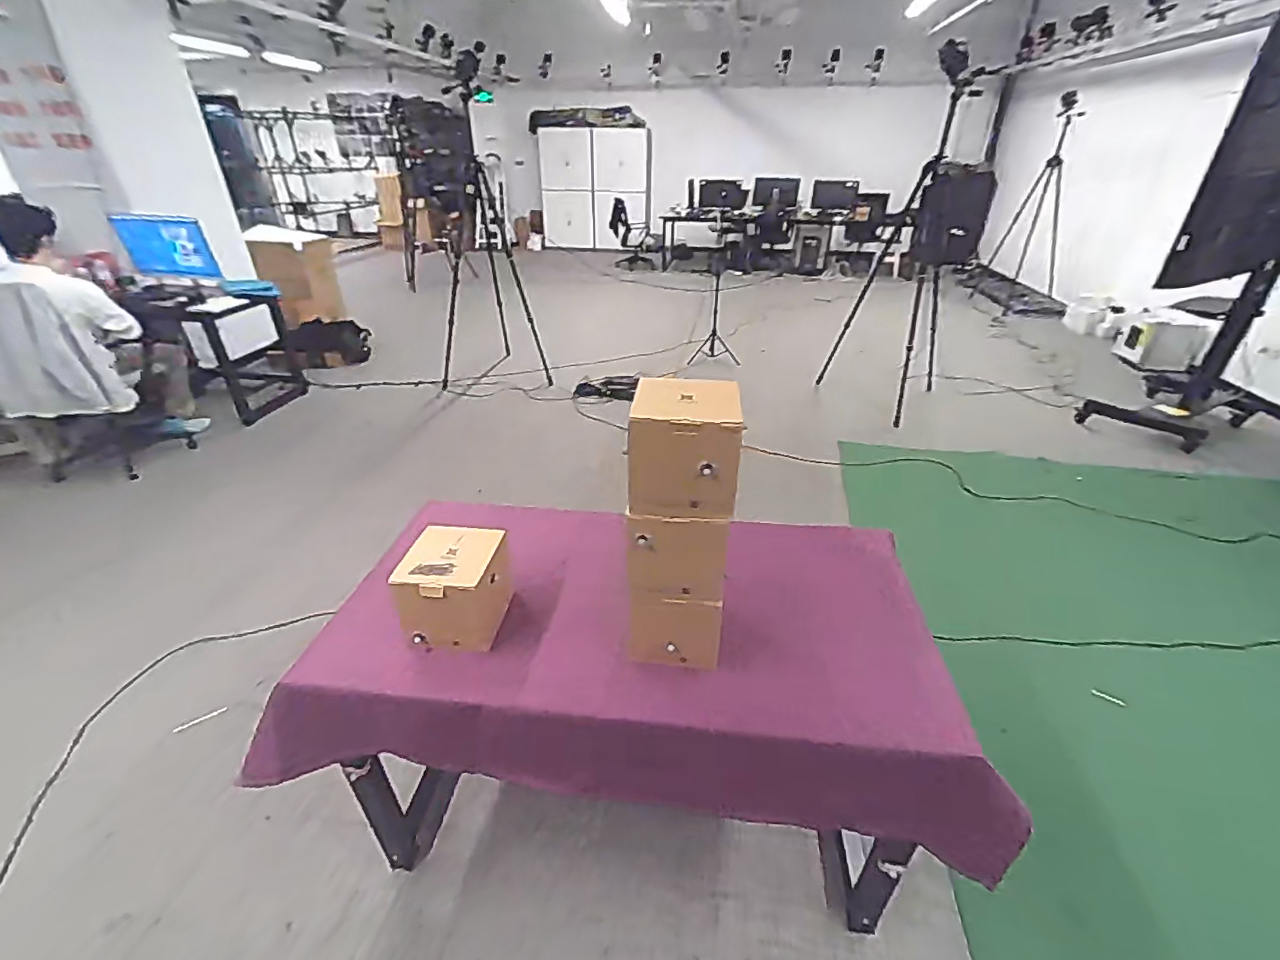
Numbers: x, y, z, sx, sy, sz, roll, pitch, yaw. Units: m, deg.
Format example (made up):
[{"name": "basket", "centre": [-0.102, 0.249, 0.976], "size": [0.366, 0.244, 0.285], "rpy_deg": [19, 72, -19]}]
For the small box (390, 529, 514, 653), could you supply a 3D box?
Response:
[{"name": "small box", "centre": [-0.357, 0.218, 1.068], "size": [0.168, 0.176, 0.179], "rpy_deg": [3, 30, 5]}]

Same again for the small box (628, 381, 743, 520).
[{"name": "small box", "centre": [0.074, -0.050, 0.875], "size": [0.168, 0.176, 0.179], "rpy_deg": [4, 30, 5]}]

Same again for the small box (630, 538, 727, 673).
[{"name": "small box", "centre": [0.076, 0.236, 1.035], "size": [0.168, 0.176, 0.179], "rpy_deg": [4, 31, 8]}]
